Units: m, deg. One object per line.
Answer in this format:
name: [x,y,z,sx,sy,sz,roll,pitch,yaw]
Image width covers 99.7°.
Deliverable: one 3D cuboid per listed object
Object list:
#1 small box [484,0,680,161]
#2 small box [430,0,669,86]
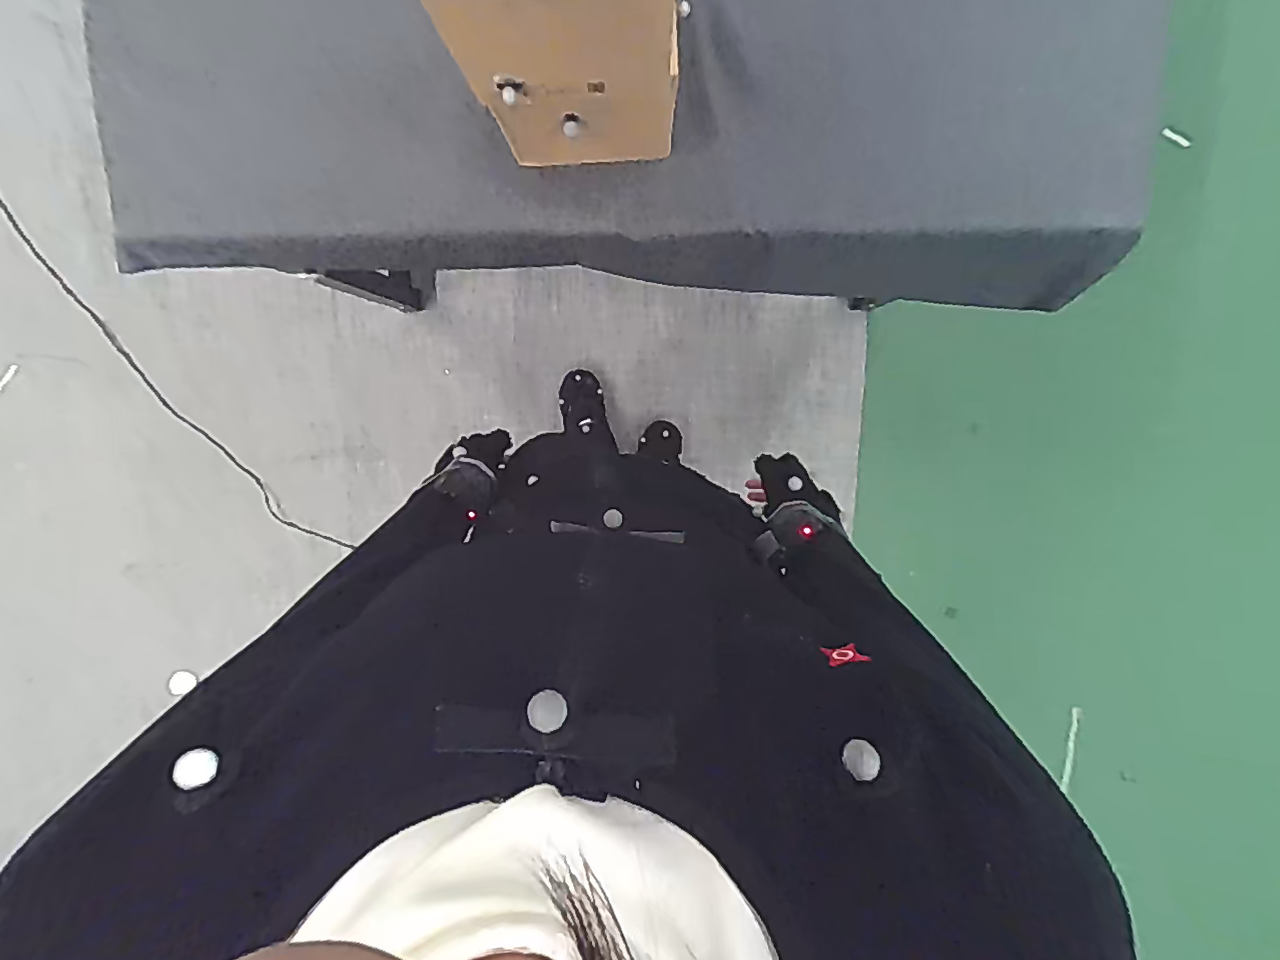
small box: [-0.056,-0.445,0.540,0.179,0.176,0.168,-6,97,1]
small box: [-0.063,-0.408,0.377,0.168,0.176,0.179,-2,98,1]
